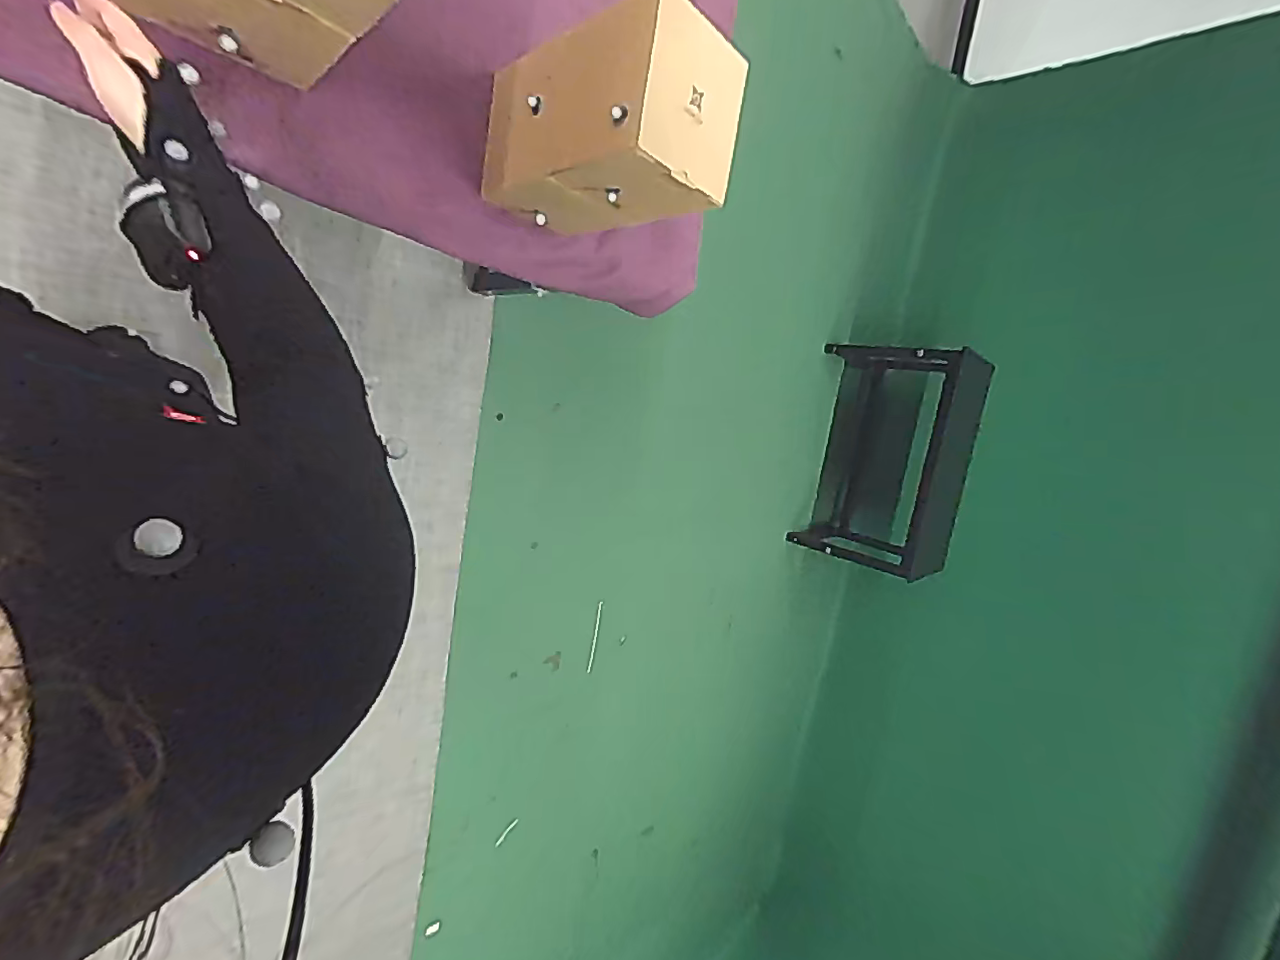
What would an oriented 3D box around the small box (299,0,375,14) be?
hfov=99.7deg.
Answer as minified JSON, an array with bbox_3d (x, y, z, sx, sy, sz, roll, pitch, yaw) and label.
[{"bbox_3d":[-0.261,-0.490,0.390,0.179,0.176,0.168,-2,102,-48],"label":"small box"}]

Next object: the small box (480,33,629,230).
[{"bbox_3d":[-0.117,-0.490,0.795,0.168,0.176,0.179,2,101,-47],"label":"small box"}]

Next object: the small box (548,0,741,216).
[{"bbox_3d":[0.001,-0.461,0.687,0.168,0.176,0.179,1,102,-47],"label":"small box"}]

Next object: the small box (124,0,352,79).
[{"bbox_3d":[-0.378,-0.525,0.500,0.168,0.176,0.179,0,102,-46],"label":"small box"}]
